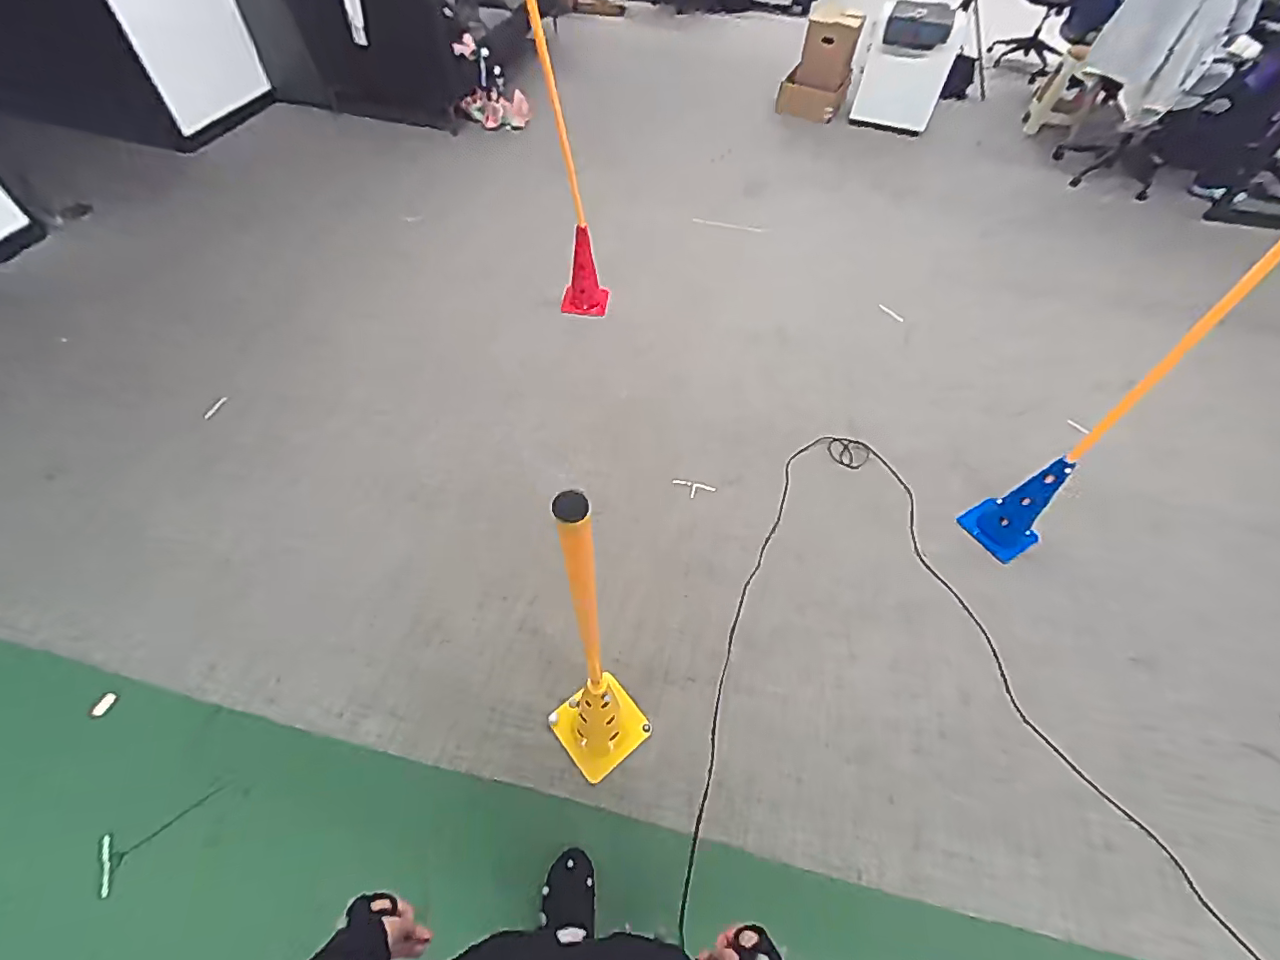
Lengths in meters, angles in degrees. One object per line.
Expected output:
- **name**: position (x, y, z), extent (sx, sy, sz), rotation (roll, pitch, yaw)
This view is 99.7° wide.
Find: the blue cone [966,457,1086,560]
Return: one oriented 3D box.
- **blue cone**: position (1.205, 0.058, 1.654), extent (0.193, 0.380, 0.192), rotation (-24, 58, -23)
